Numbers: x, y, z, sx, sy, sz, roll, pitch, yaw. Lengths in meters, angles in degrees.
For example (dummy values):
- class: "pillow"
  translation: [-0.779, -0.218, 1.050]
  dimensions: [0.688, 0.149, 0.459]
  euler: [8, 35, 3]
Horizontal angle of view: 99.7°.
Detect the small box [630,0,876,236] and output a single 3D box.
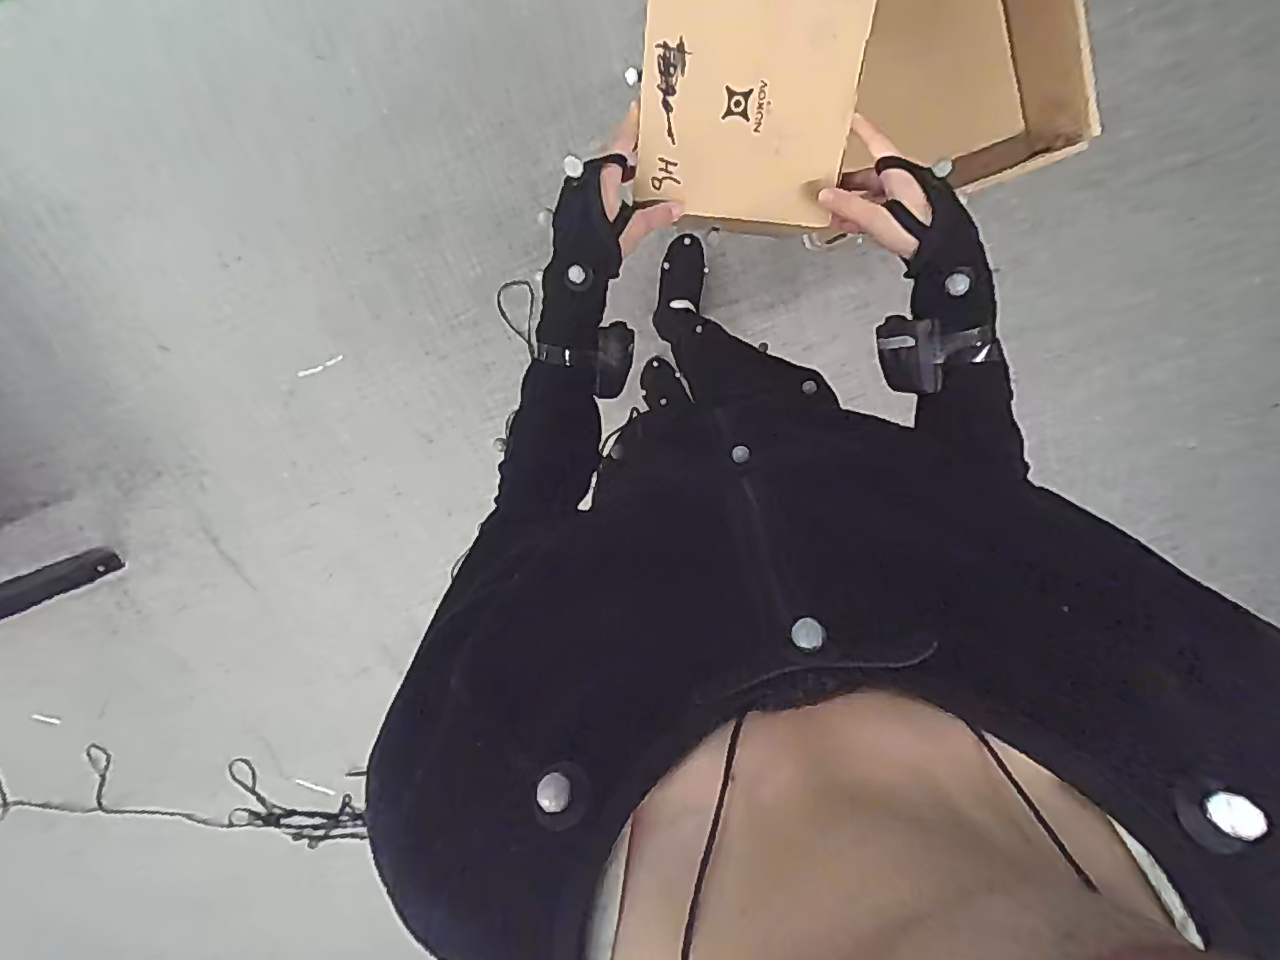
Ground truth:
- class: "small box"
  translation: [0.085, -0.330, 0.509]
  dimensions: [0.179, 0.176, 0.168]
  euler: [5, 110, -2]
